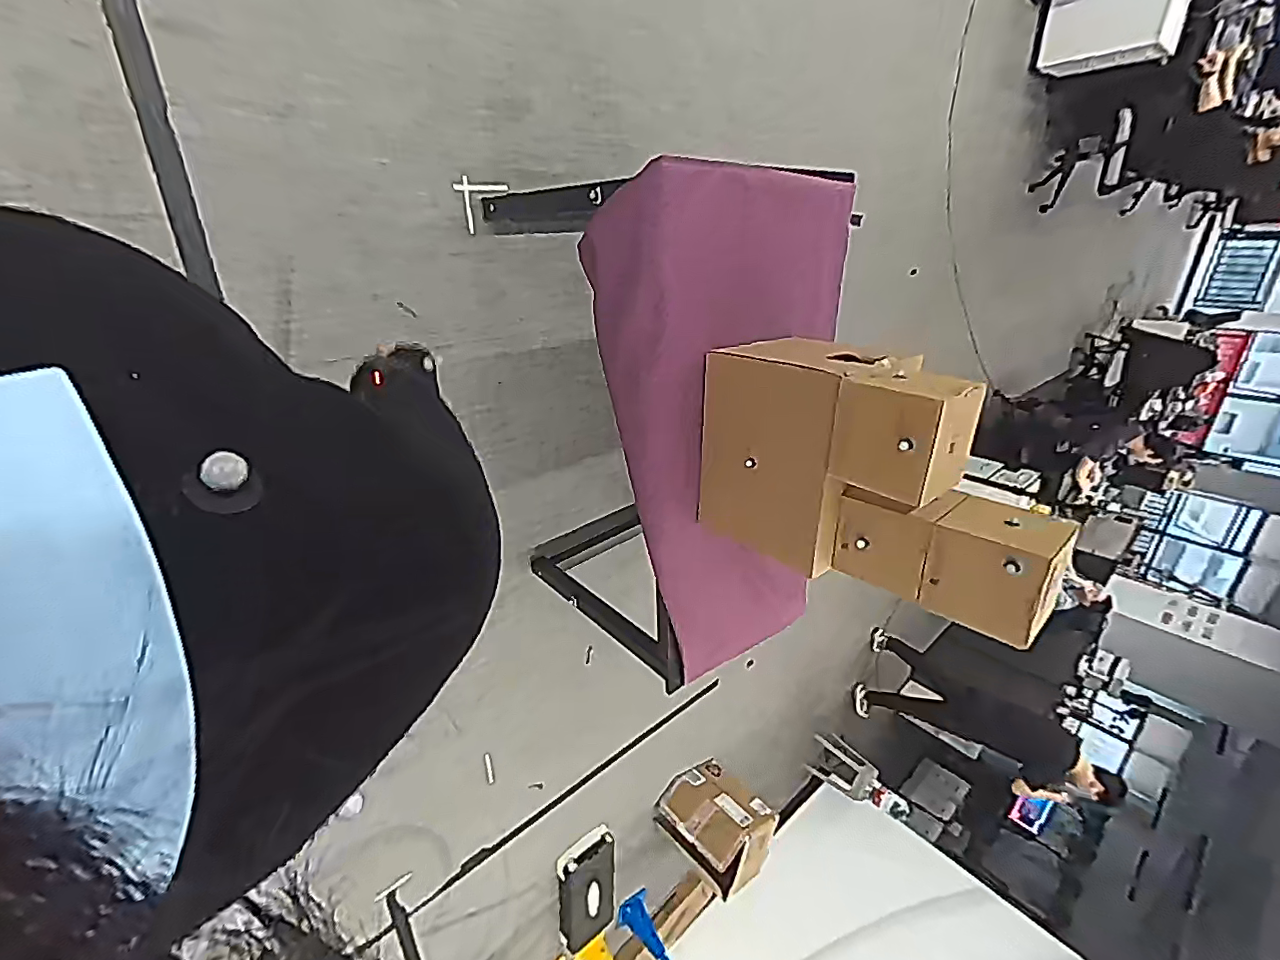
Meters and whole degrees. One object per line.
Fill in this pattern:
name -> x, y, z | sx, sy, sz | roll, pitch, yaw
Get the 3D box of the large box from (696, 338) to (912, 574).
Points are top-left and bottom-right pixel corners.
large box -> 0.337, -0.076, 1.170 | 0.320, 0.320, 0.408 | -20, 120, -38

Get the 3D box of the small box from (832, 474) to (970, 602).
small box -> 0.499, 0.100, 1.044 | 0.179, 0.176, 0.168 | -19, 118, -37
